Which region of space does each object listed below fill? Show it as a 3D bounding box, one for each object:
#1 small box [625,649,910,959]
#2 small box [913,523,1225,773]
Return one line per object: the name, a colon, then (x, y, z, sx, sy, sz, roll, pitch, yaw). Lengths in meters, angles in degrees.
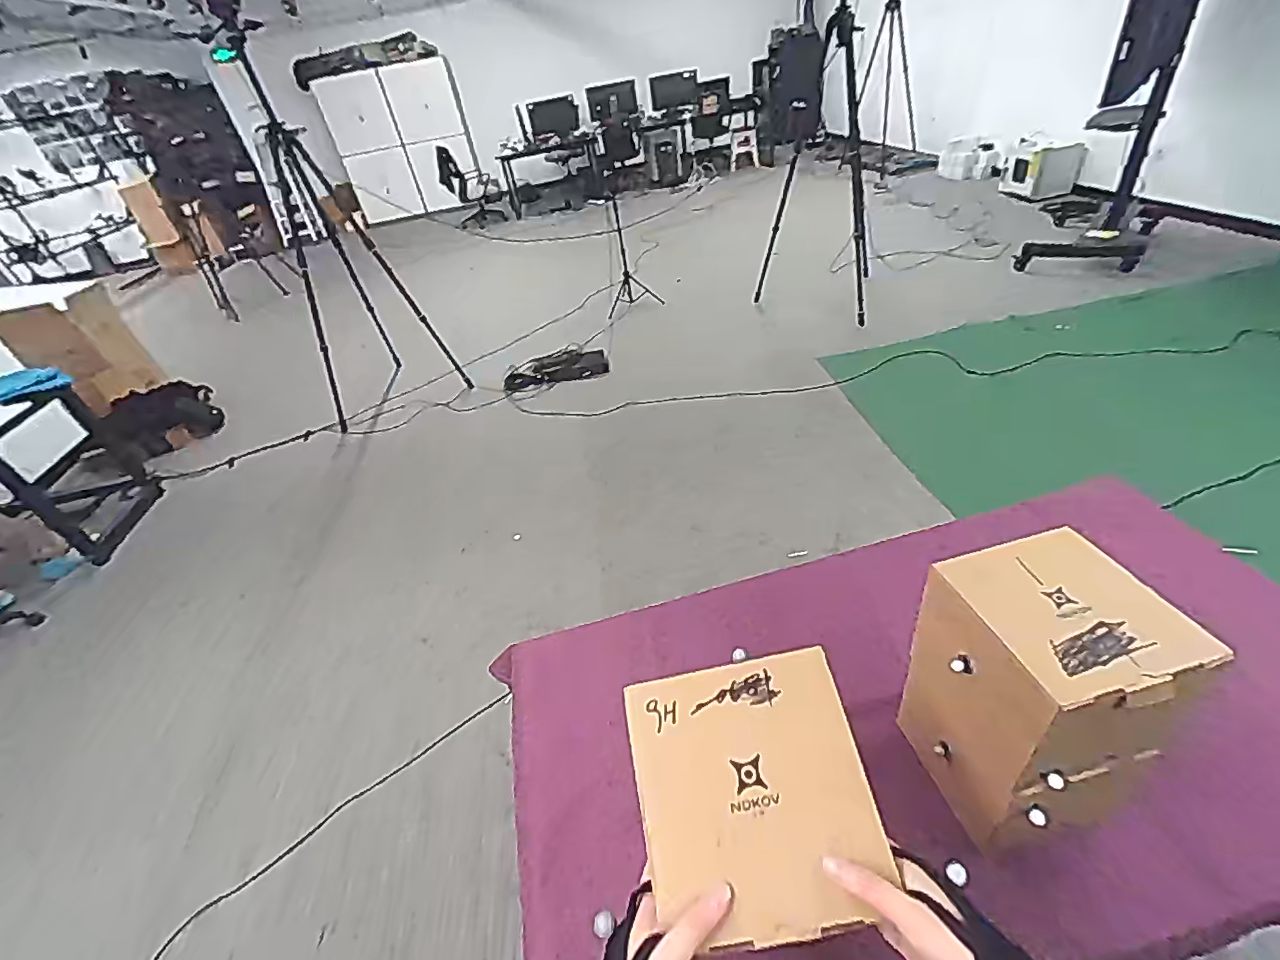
small box: (0.094, 0.260, 0.458, 0.168, 0.176, 0.179, -13, 61, 2)
small box: (0.421, 0.180, 0.571, 0.168, 0.176, 0.179, -15, 36, -4)
